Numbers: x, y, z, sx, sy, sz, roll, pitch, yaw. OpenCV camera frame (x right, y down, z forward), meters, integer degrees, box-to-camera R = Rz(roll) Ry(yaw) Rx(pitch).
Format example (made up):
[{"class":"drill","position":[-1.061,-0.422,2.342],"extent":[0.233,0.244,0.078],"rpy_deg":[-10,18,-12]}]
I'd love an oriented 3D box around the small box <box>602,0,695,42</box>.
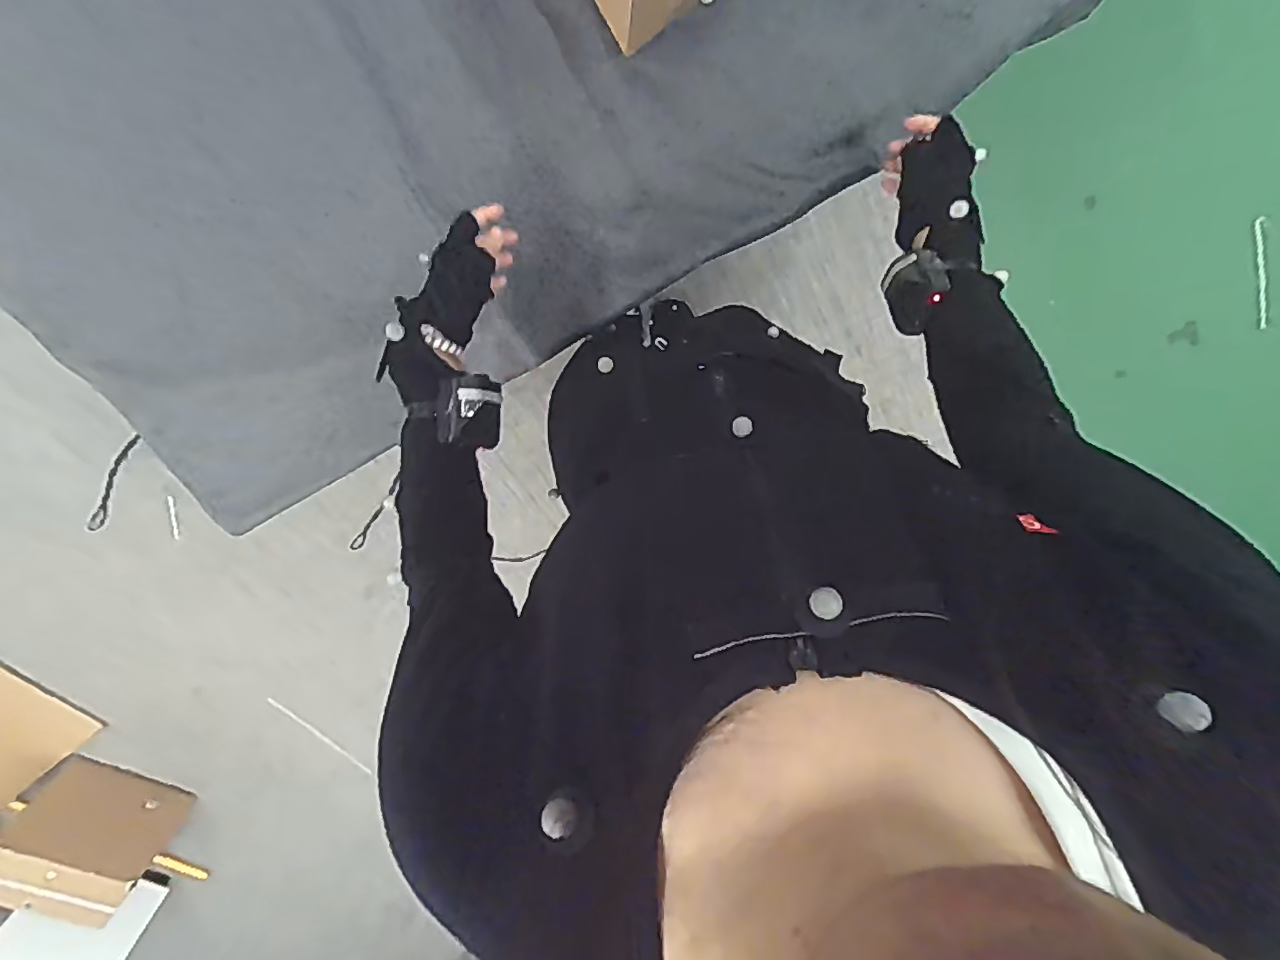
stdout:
[{"class":"small box","position":[0.013,-0.507,0.427],"extent":[0.168,0.176,0.179],"rpy_deg":[-32,112,11]}]
